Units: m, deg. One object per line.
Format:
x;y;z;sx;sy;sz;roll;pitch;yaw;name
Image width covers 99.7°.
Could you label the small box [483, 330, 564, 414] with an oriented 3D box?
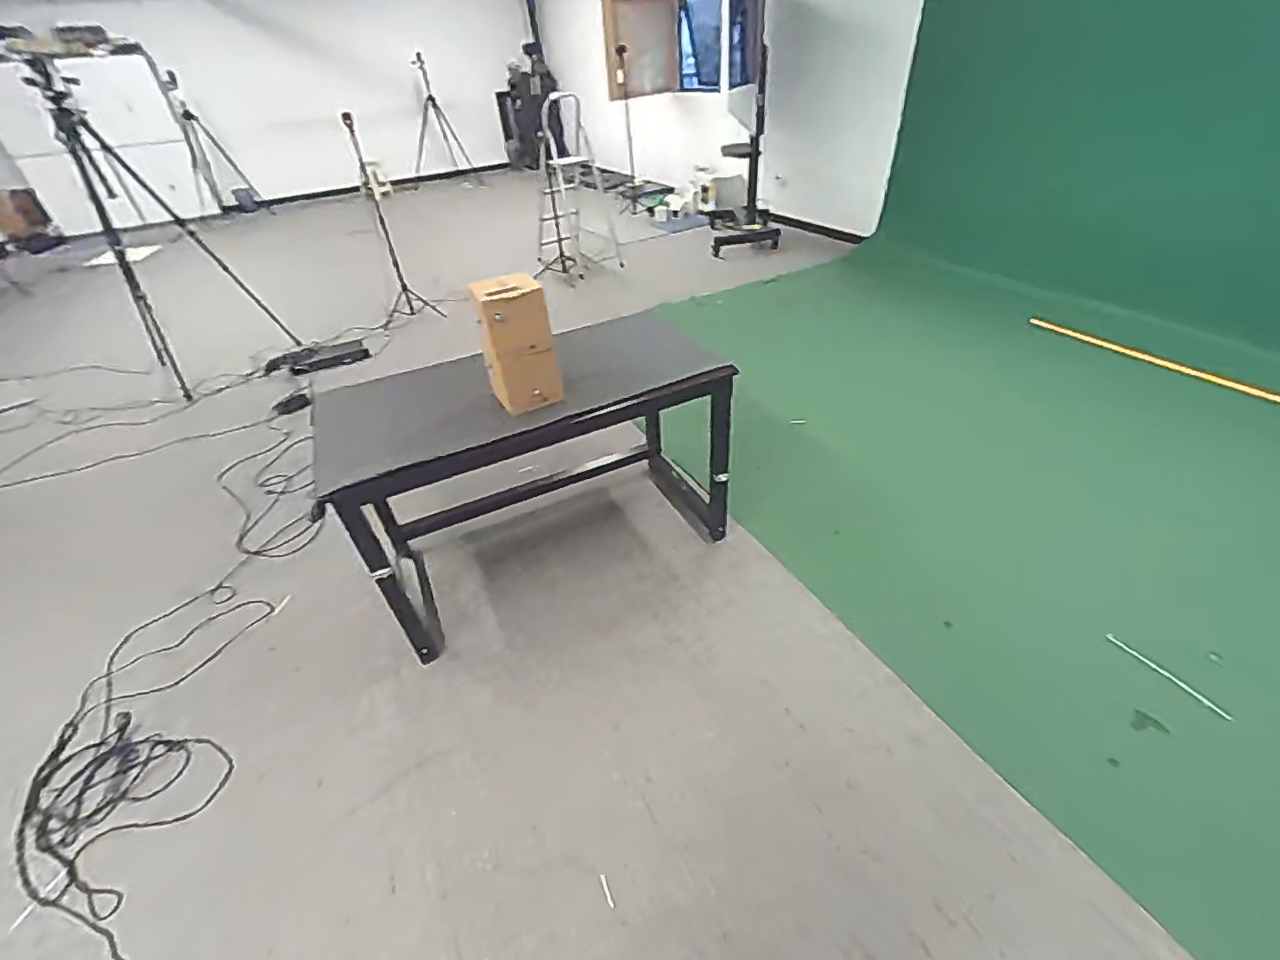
-0.337;-0.315;1.571;0.168;0.176;0.179;-23;41;-21;small box
